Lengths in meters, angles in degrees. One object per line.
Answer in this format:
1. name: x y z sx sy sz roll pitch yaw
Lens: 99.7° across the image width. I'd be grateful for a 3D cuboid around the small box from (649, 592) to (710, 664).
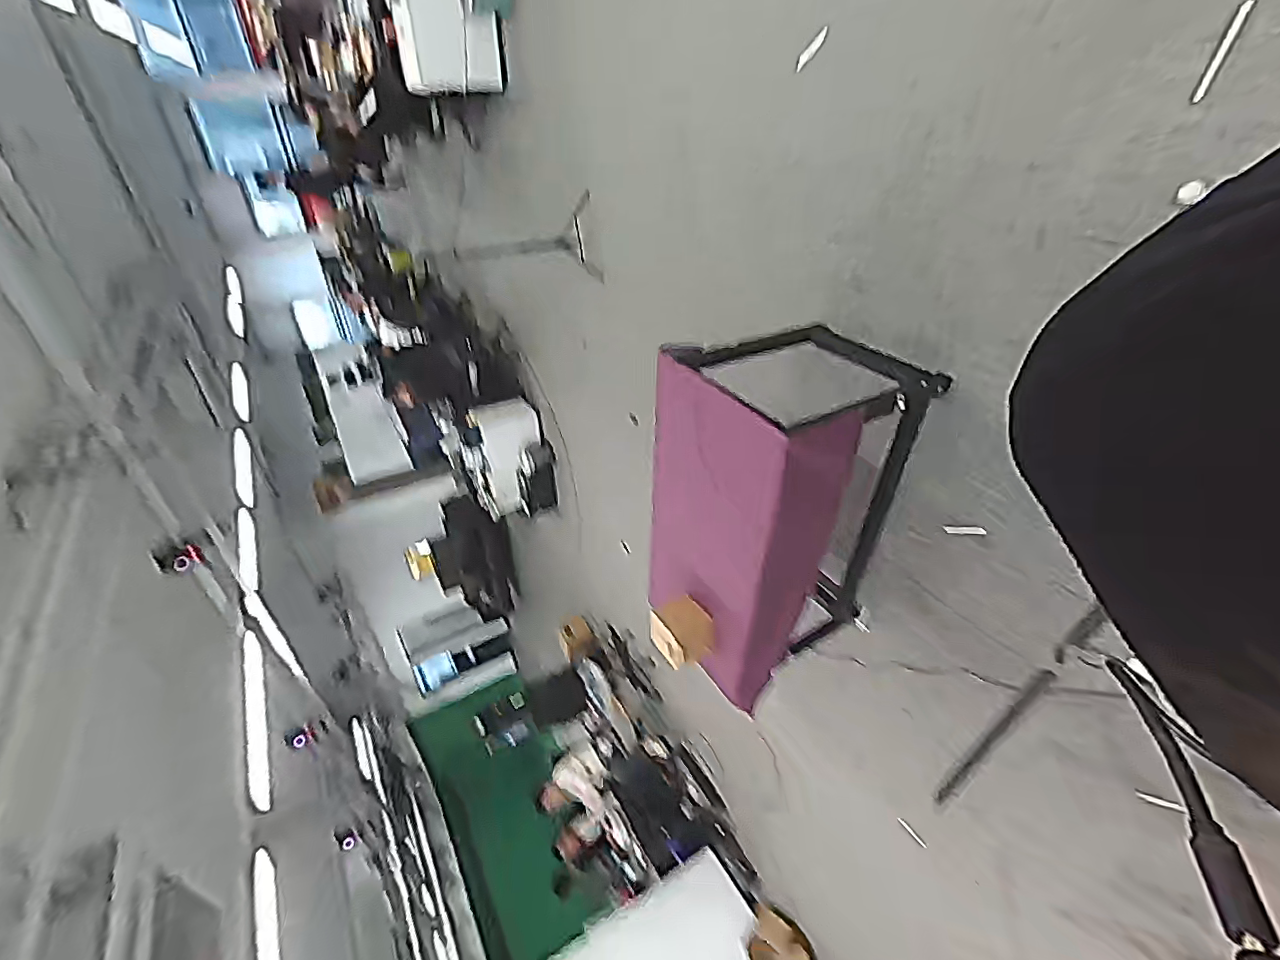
1. small box: 0.152 0.557 2.060 0.179 0.176 0.168 39 139 49
